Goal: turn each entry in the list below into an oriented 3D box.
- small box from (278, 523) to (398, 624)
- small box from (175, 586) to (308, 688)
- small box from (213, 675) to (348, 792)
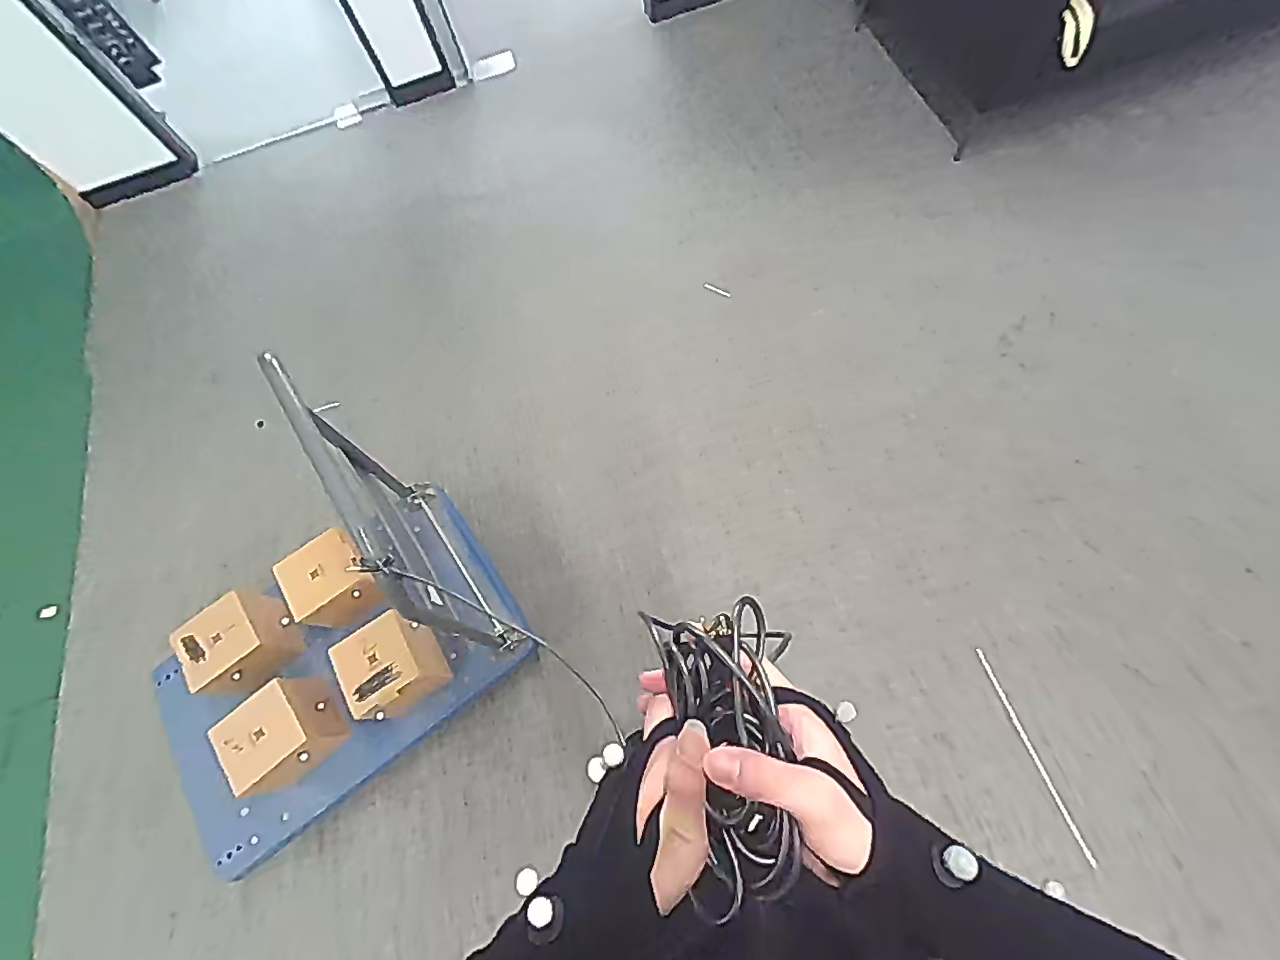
[{"bbox_3d":[-0.752,0.242,1.360,0.179,0.176,0.168,-35,69,-8],"label":"small box"},{"bbox_3d":[-0.968,0.390,1.326,0.179,0.176,0.168,-38,70,-9],"label":"small box"},{"bbox_3d":[-0.807,0.570,1.238,0.179,0.176,0.168,-40,69,-9],"label":"small box"}]
